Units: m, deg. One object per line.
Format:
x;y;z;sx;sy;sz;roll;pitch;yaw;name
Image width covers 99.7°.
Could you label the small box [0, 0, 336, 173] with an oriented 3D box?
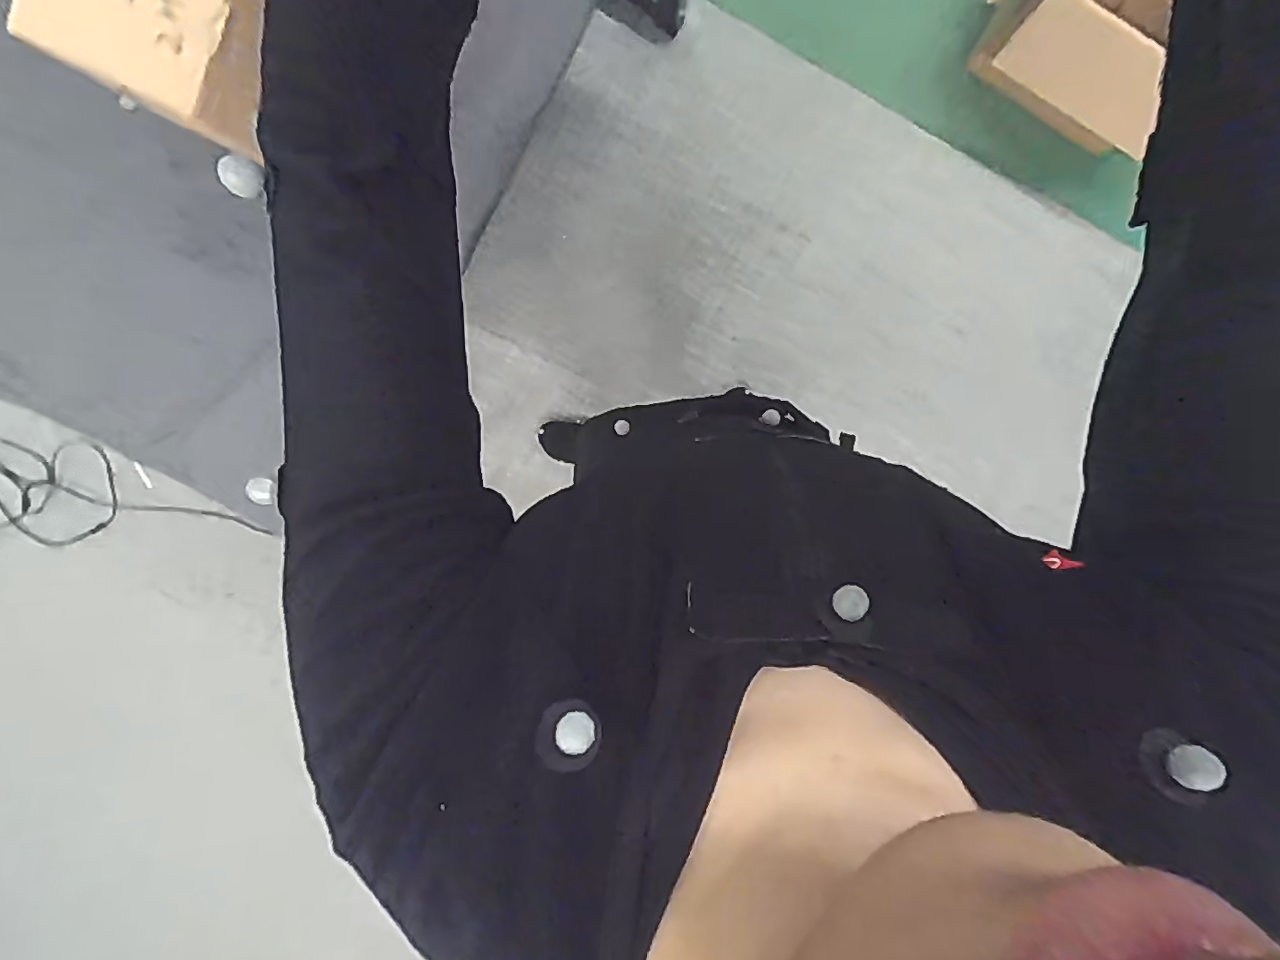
-0.461;-0.453;0.554;0.179;0.176;0.168;24;100;-5;small box
